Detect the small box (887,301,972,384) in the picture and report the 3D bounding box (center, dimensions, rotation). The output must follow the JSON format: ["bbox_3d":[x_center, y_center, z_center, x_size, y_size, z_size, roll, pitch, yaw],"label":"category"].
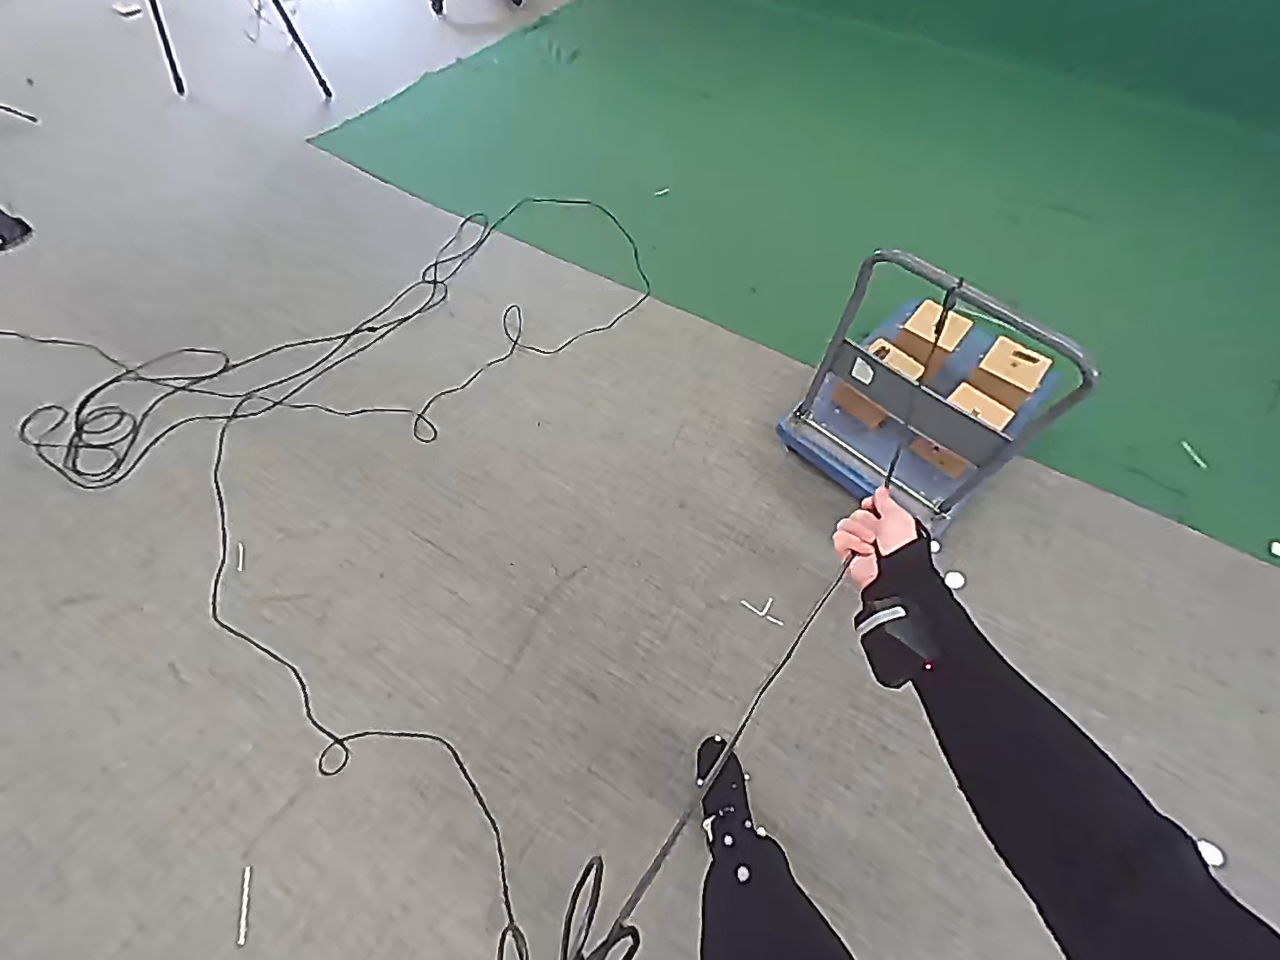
[{"bbox_3d":[0.951,-0.451,1.797,0.168,0.176,0.179,37,65,18],"label":"small box"}]

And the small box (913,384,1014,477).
[{"bbox_3d":[0.955,-0.145,1.613,0.179,0.176,0.168,-40,68,-22],"label":"small box"}]

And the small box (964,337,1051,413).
[{"bbox_3d":[1.144,-0.311,1.715,0.168,0.176,0.179,36,66,20],"label":"small box"}]
